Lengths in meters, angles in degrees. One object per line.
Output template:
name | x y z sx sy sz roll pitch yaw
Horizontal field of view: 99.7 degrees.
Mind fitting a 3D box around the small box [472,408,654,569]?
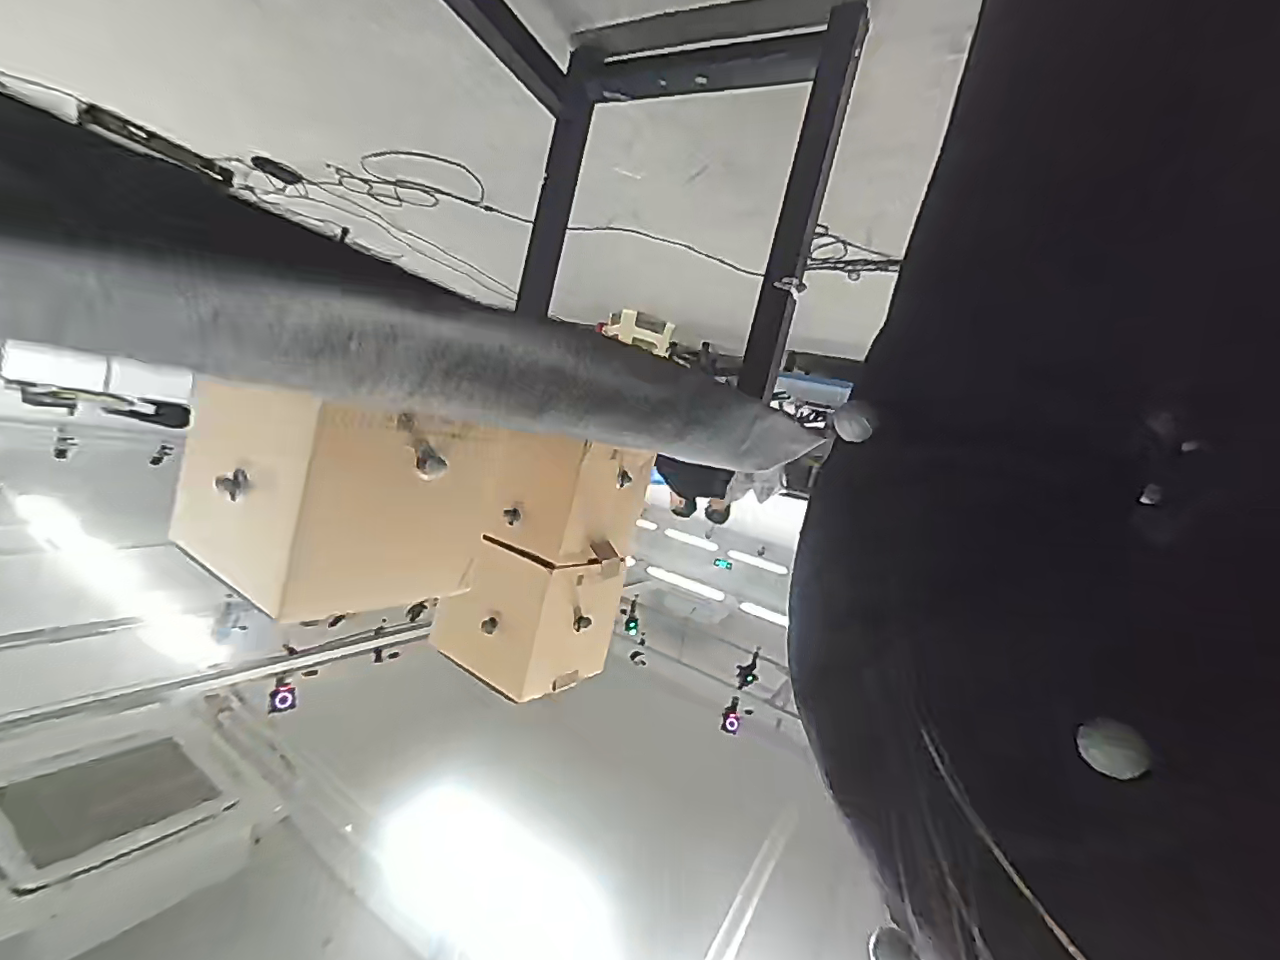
small box | -0.105 0.007 0.717 0.179 0.176 0.168 16 -176 31

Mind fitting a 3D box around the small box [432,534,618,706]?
small box | -0.145 0.166 0.723 0.179 0.176 0.168 15 -176 32

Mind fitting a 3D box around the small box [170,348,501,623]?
small box | -0.243 -0.004 0.452 0.179 0.176 0.168 17 -175 29
